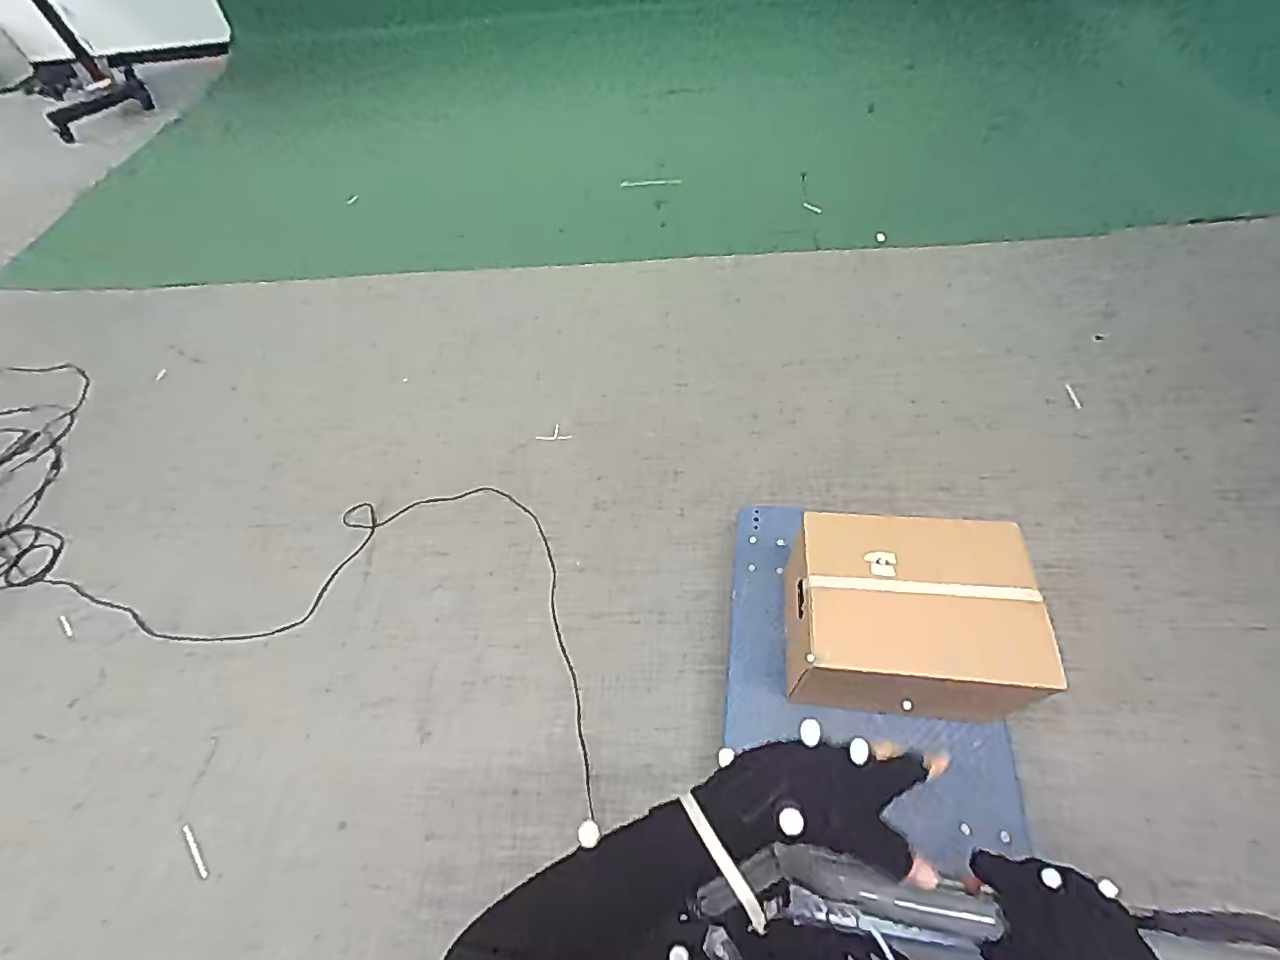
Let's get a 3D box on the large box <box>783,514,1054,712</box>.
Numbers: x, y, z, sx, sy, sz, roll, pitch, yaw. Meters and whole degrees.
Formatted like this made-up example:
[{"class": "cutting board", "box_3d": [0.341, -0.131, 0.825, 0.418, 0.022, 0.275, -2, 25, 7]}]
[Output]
[{"class": "large box", "box_3d": [0.525, 0.283, 1.126, 0.408, 0.320, 0.320, 2, 56, 8]}]
